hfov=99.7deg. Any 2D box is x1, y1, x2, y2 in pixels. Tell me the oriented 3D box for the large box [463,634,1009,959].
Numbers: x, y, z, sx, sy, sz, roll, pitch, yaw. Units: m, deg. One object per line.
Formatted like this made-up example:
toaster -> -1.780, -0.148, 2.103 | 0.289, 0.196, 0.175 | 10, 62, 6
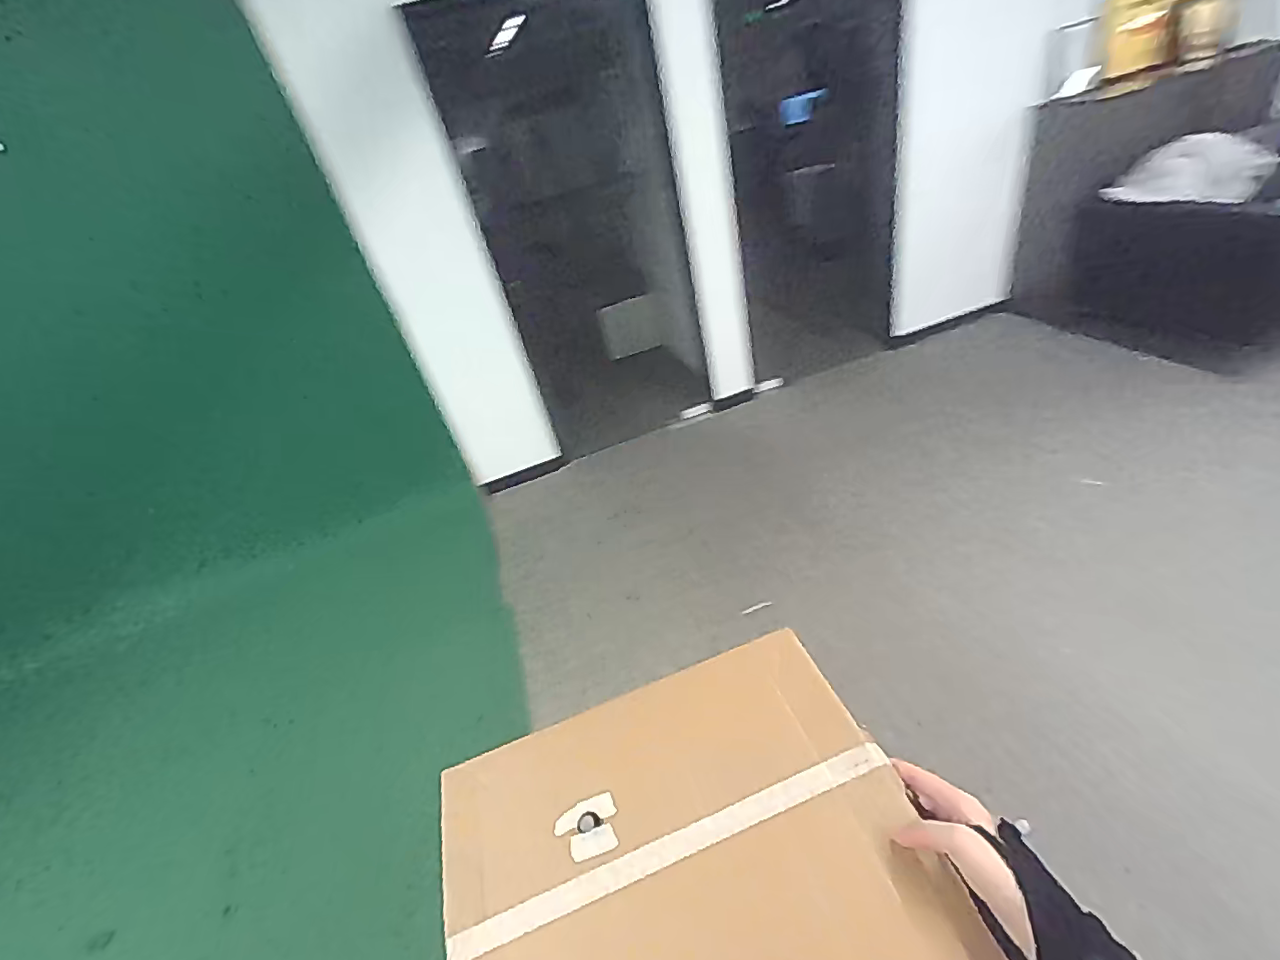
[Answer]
large box -> 0.074, 0.440, 0.577 | 0.408, 0.320, 0.320 | -21, 40, -5
